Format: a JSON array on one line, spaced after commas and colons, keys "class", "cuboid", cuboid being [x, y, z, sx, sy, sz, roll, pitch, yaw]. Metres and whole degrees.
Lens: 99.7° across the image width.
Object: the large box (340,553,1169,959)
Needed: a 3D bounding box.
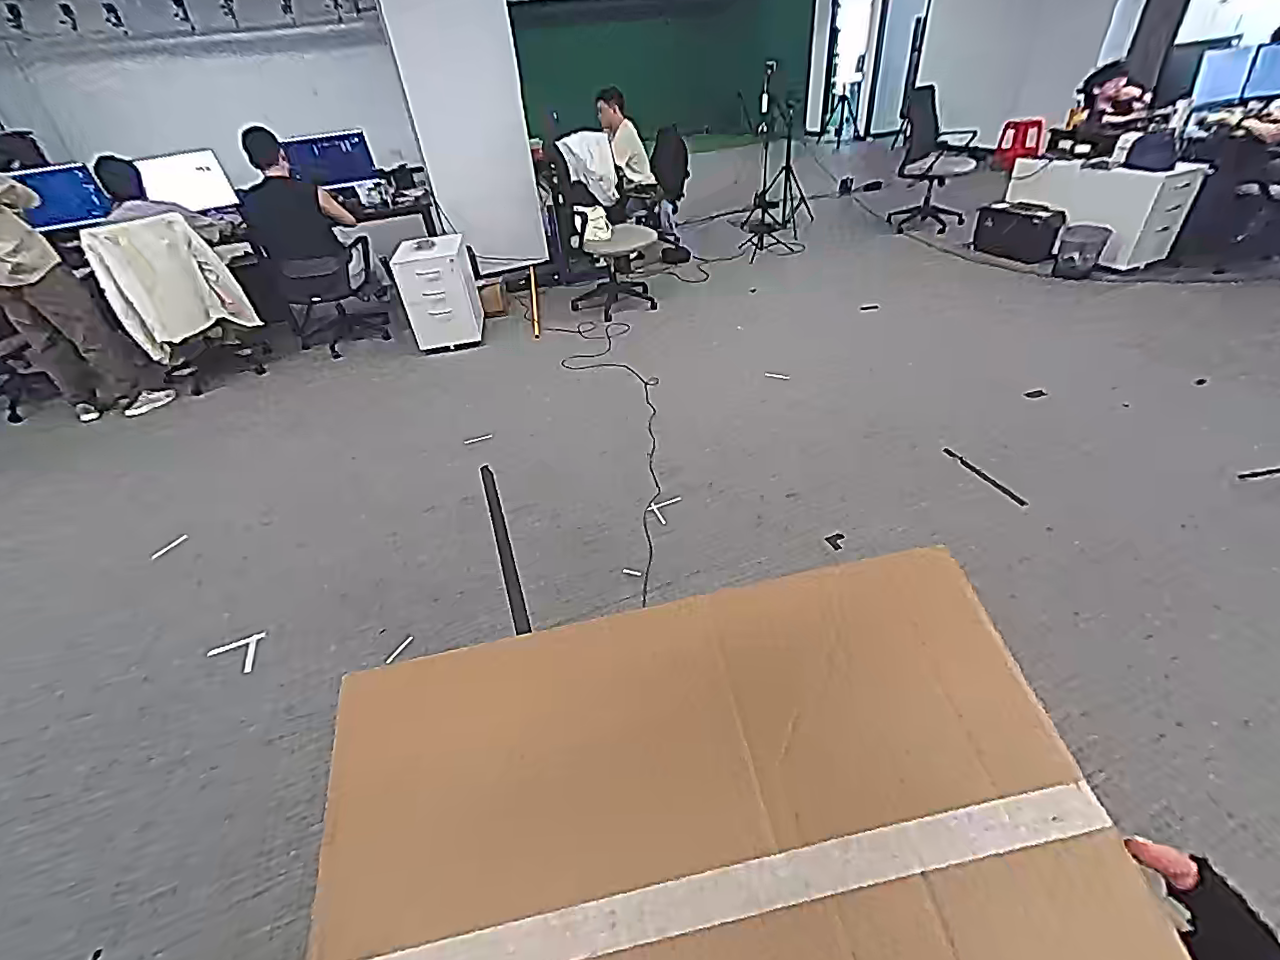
[{"class": "large box", "cuboid": [0.051, 0.299, 0.401, 0.408, 0.320, 0.320, -12, 56, -3]}]
